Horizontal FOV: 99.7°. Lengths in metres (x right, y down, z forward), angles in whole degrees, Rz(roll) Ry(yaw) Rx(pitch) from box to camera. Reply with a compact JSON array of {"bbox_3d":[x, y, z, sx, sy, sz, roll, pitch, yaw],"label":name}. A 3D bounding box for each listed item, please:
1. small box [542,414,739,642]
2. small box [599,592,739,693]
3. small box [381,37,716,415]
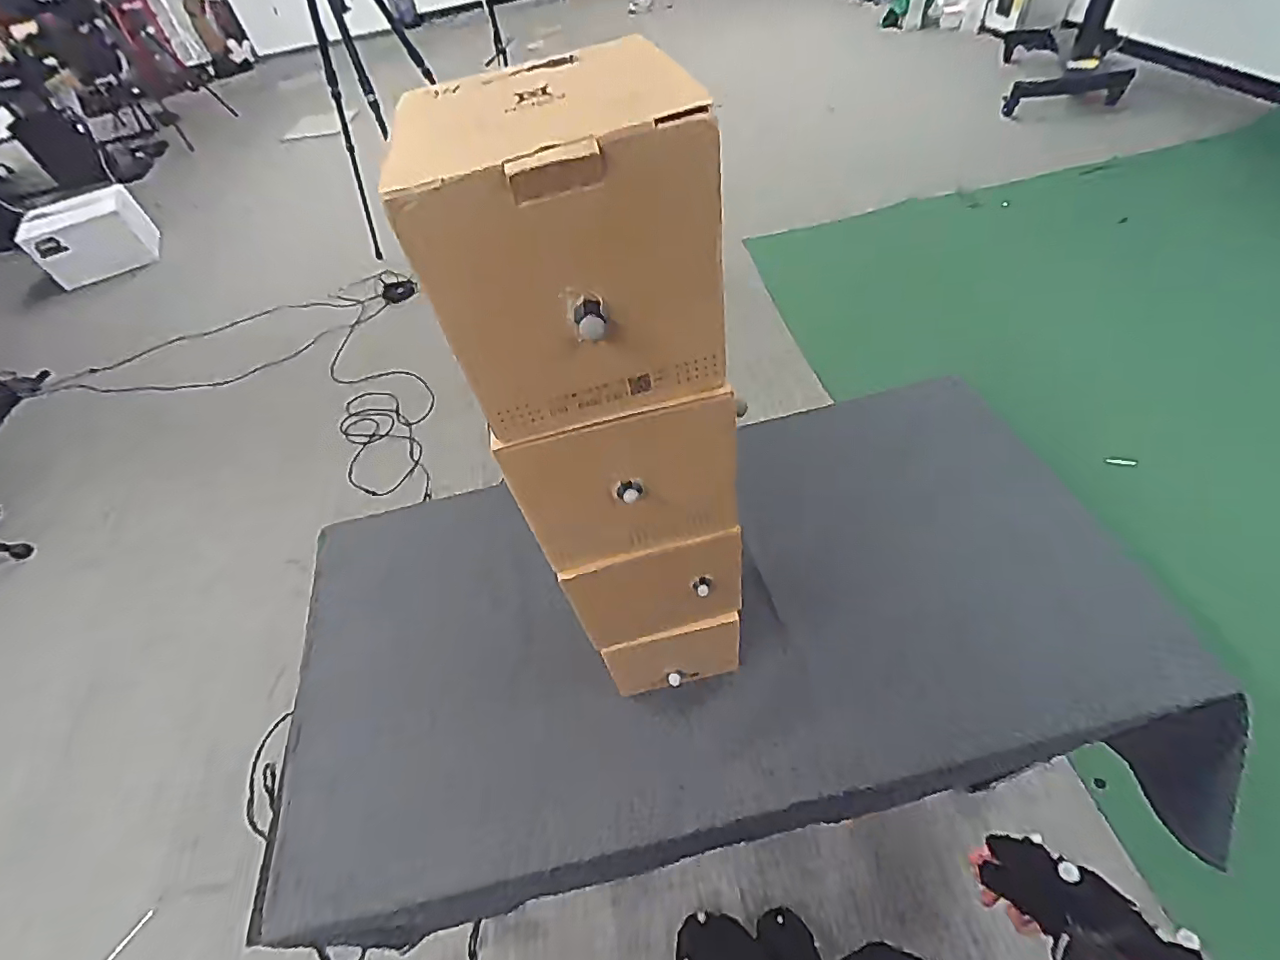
[{"bbox_3d":[0.002,0.058,0.607,0.179,0.176,0.168,-15,49,-2],"label":"small box"},{"bbox_3d":[0.029,0.162,0.730,0.168,0.176,0.179,-13,51,0],"label":"small box"},{"bbox_3d":[-0.049,-0.164,0.371,0.168,0.176,0.179,-14,50,-1],"label":"small box"}]
